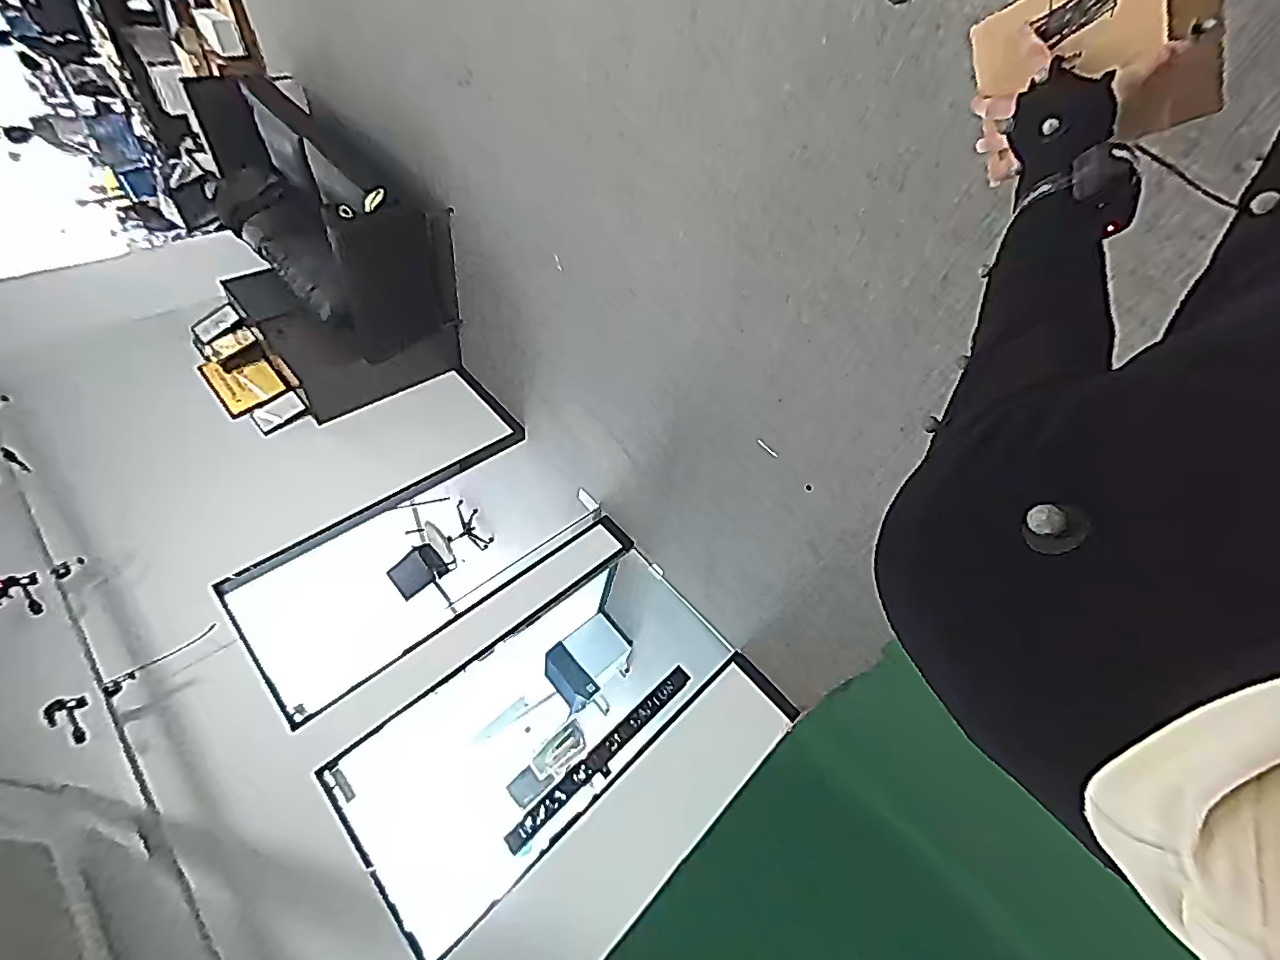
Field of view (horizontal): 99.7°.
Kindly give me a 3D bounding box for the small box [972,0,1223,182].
[{"bbox_3d":[0.506,-0.464,0.602,0.168,0.176,0.179,11,125,58],"label":"small box"}]
